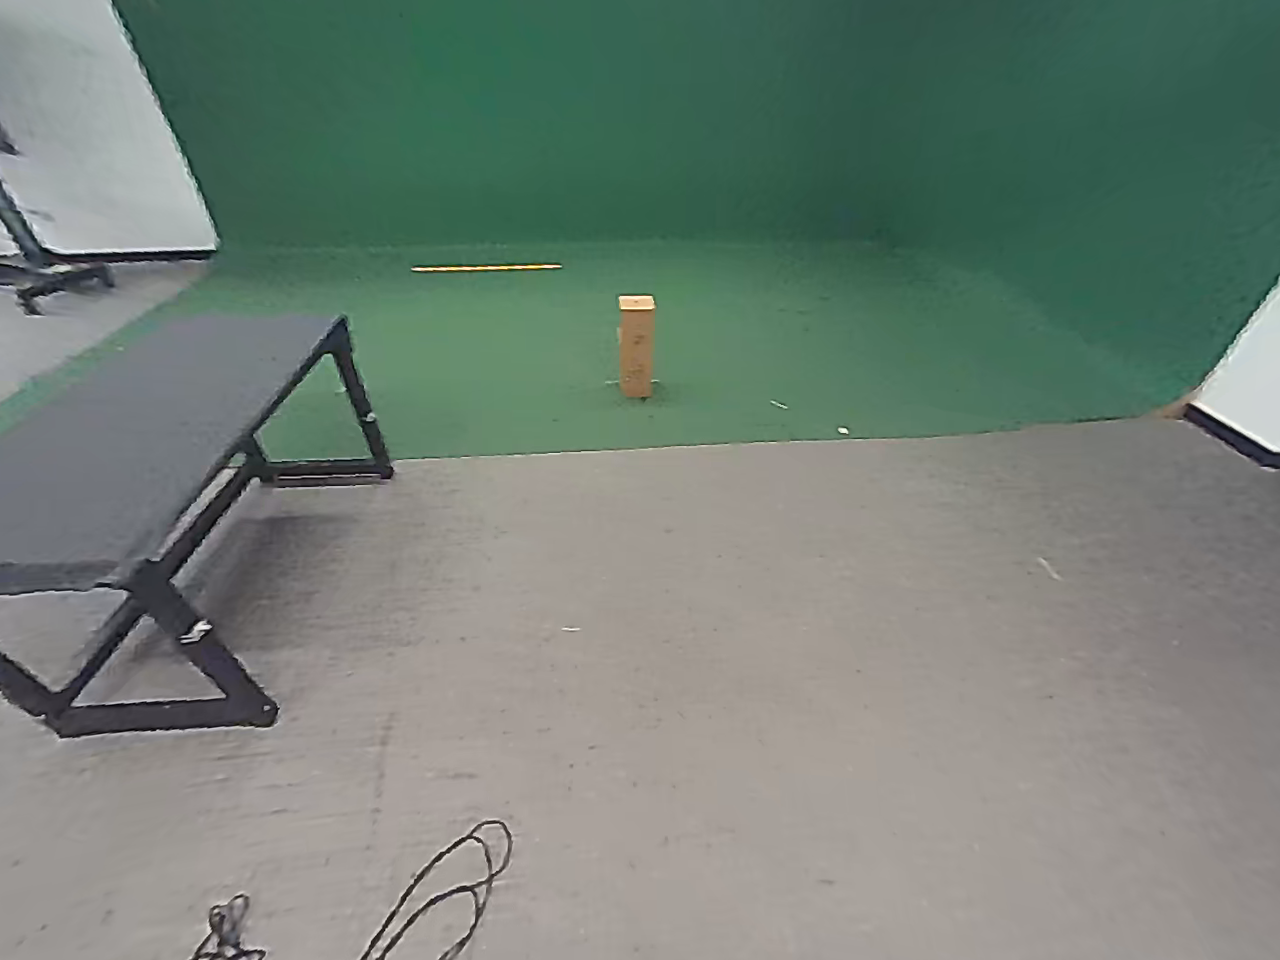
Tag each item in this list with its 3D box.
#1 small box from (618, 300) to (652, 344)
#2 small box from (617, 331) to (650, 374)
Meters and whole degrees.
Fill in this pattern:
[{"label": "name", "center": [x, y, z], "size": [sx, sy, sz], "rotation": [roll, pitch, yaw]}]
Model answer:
[{"label": "small box", "center": [-0.028, -0.809, 2.765], "size": [0.168, 0.176, 0.179], "rotation": [-1, 39, -4]}, {"label": "small box", "center": [-0.038, -0.676, 2.863], "size": [0.168, 0.176, 0.179], "rotation": [-2, 39, -5]}]
